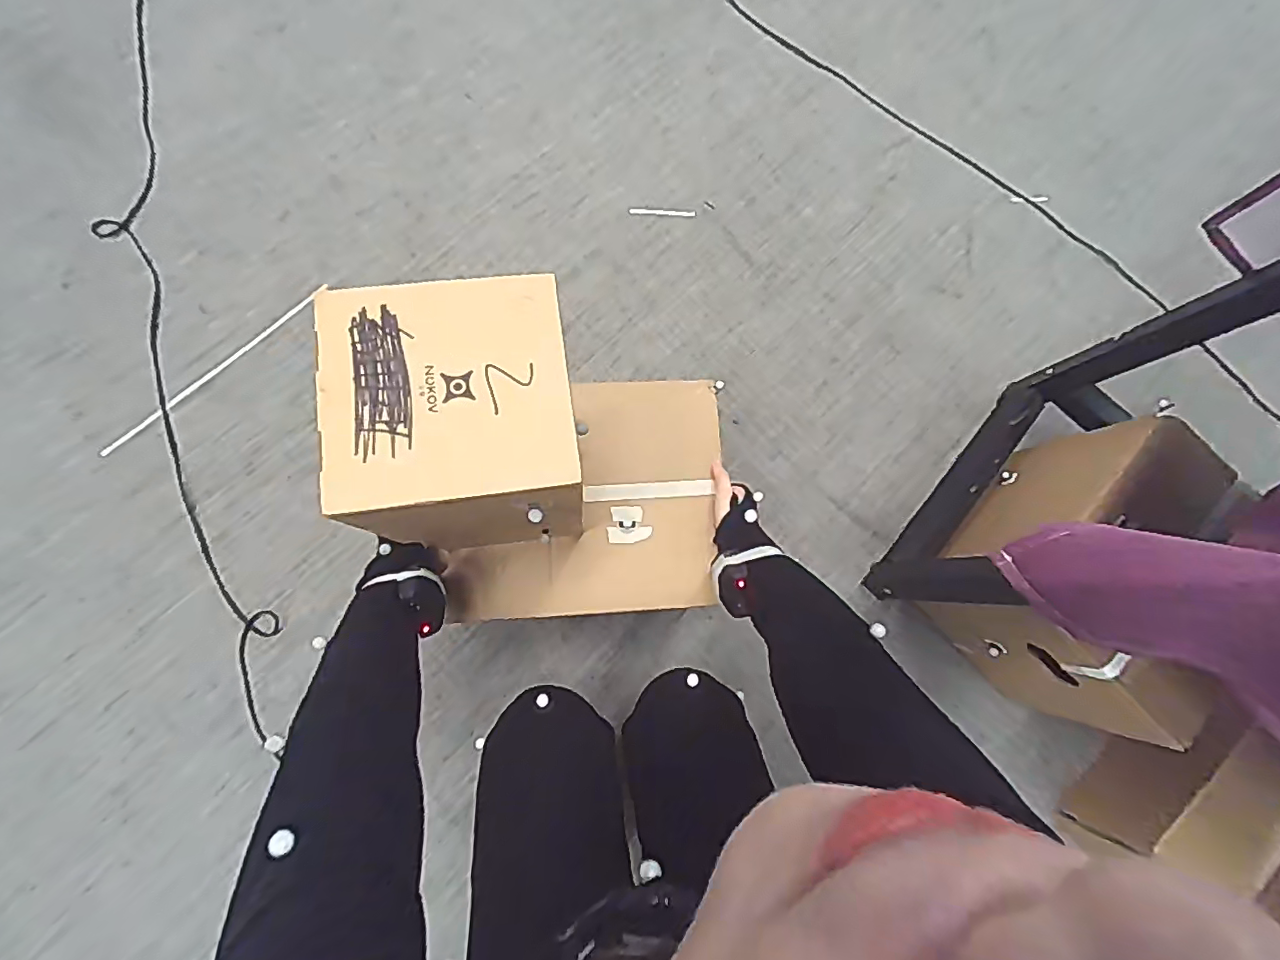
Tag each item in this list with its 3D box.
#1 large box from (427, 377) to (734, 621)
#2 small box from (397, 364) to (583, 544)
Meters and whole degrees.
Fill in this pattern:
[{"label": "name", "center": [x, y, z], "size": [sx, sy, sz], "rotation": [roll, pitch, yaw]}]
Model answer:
[{"label": "large box", "center": [-0.097, 0.042, 0.868], "size": [0.408, 0.320, 0.320], "rotation": [-3, 80, -6]}, {"label": "small box", "center": [-0.160, -0.020, 0.625], "size": [0.179, 0.176, 0.168], "rotation": [-7, 79, -6]}]
